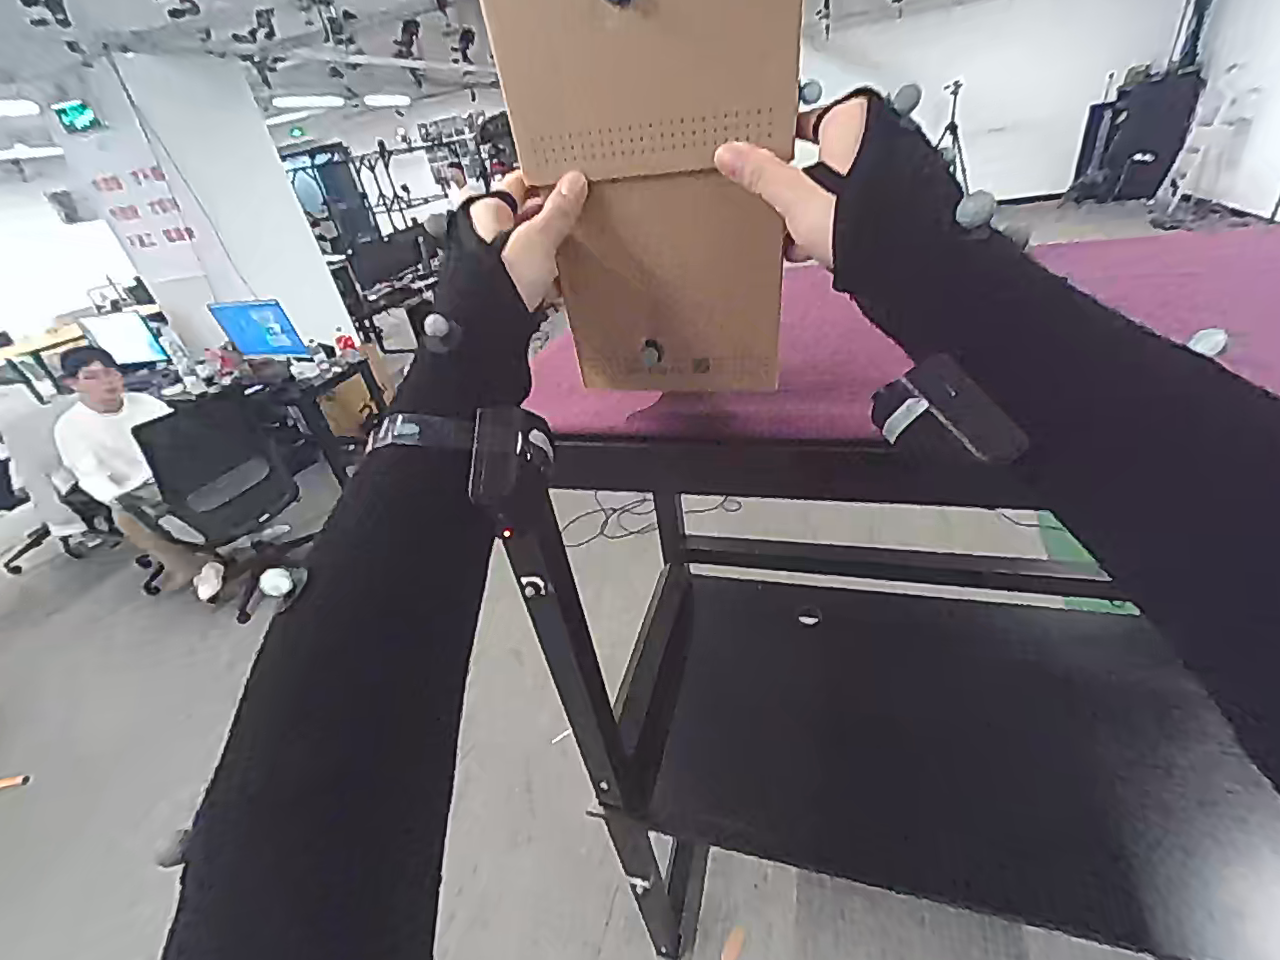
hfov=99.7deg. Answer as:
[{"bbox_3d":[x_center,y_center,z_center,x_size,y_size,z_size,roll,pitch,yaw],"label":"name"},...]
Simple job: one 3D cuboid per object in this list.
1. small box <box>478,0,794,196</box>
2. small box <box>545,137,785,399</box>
[{"bbox_3d":[0.011,-0.304,0.354,0.179,0.176,0.168,1,41,14],"label":"small box"},{"bbox_3d":[0.036,-0.188,0.467,0.168,0.176,0.179,2,42,13],"label":"small box"}]
